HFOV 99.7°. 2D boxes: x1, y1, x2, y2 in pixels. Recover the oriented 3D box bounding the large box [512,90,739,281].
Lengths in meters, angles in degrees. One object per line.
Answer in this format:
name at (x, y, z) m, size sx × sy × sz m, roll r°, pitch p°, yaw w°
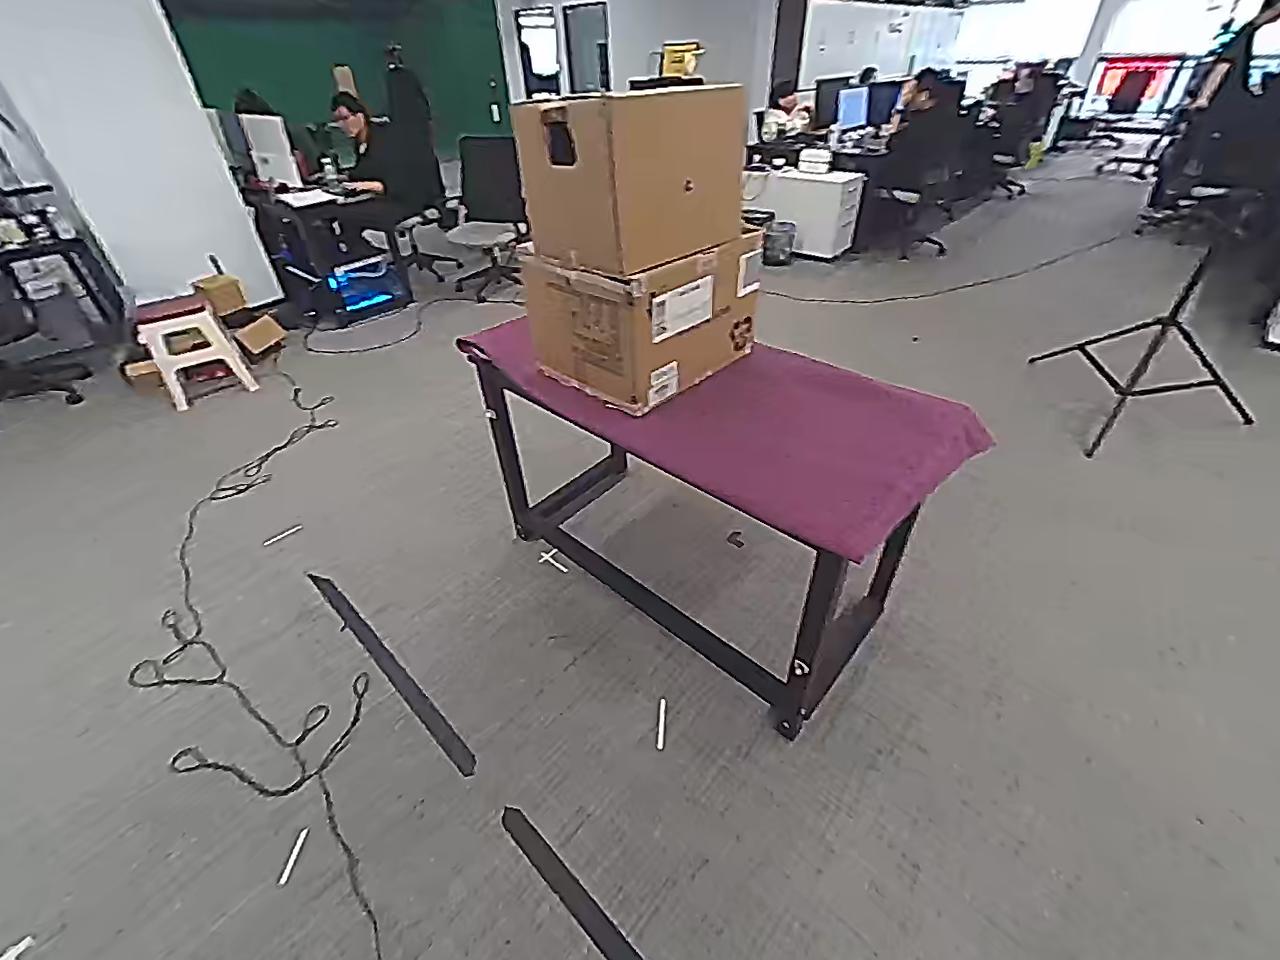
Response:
large box at (-0.015, -0.679, 1.232) m, size 0.320 × 0.320 × 0.408 m, roll 26°, pitch 47°, yaw 37°
